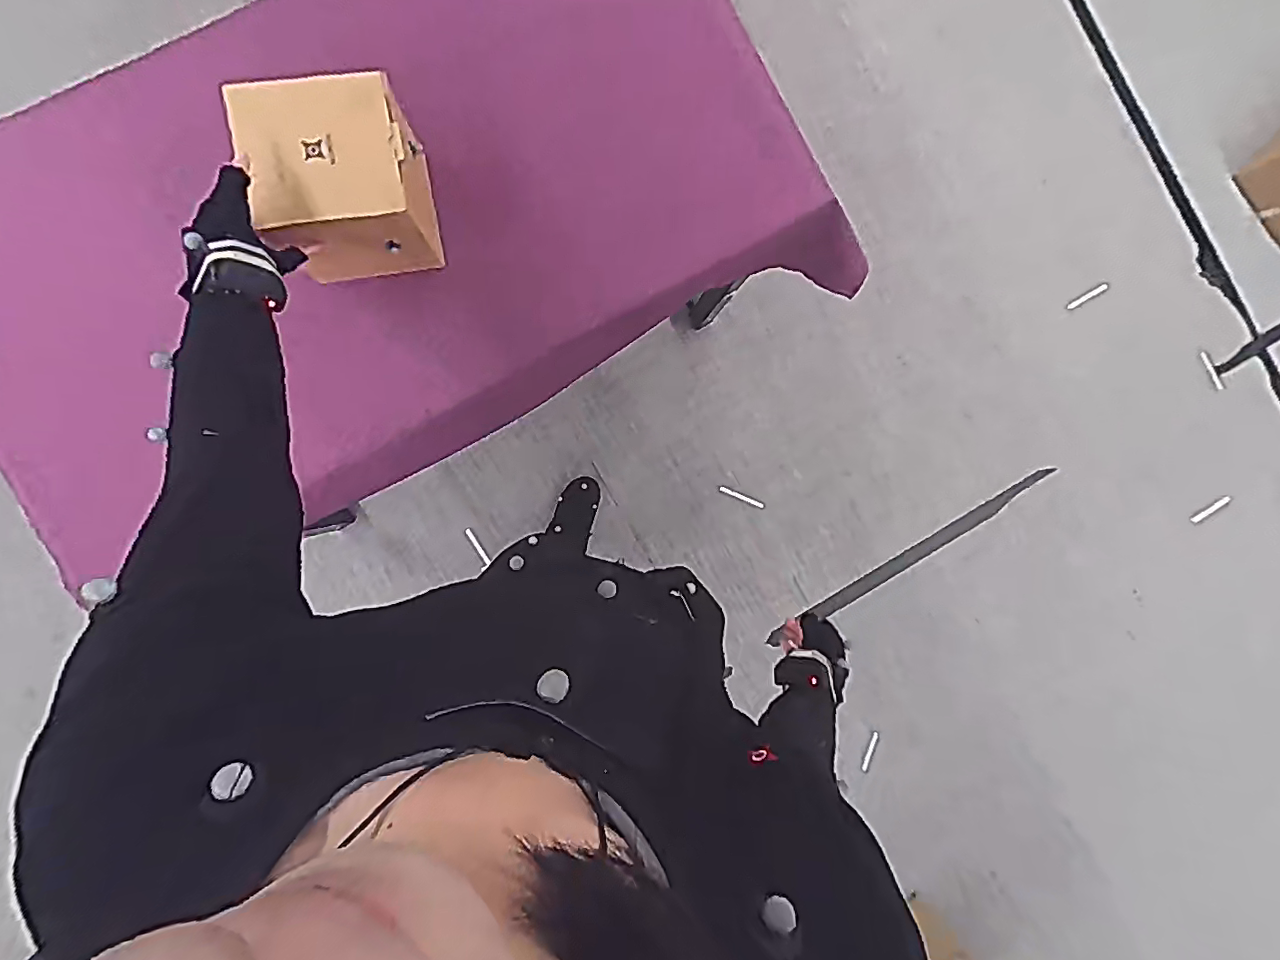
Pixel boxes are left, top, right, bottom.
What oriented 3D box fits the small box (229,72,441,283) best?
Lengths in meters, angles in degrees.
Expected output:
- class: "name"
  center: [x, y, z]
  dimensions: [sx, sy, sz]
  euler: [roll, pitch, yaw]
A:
- class: "small box"
  center: [-0.368, -0.372, 0.692]
  dimensions: [0.179, 0.176, 0.168]
  euler: [-11, 90, -4]
